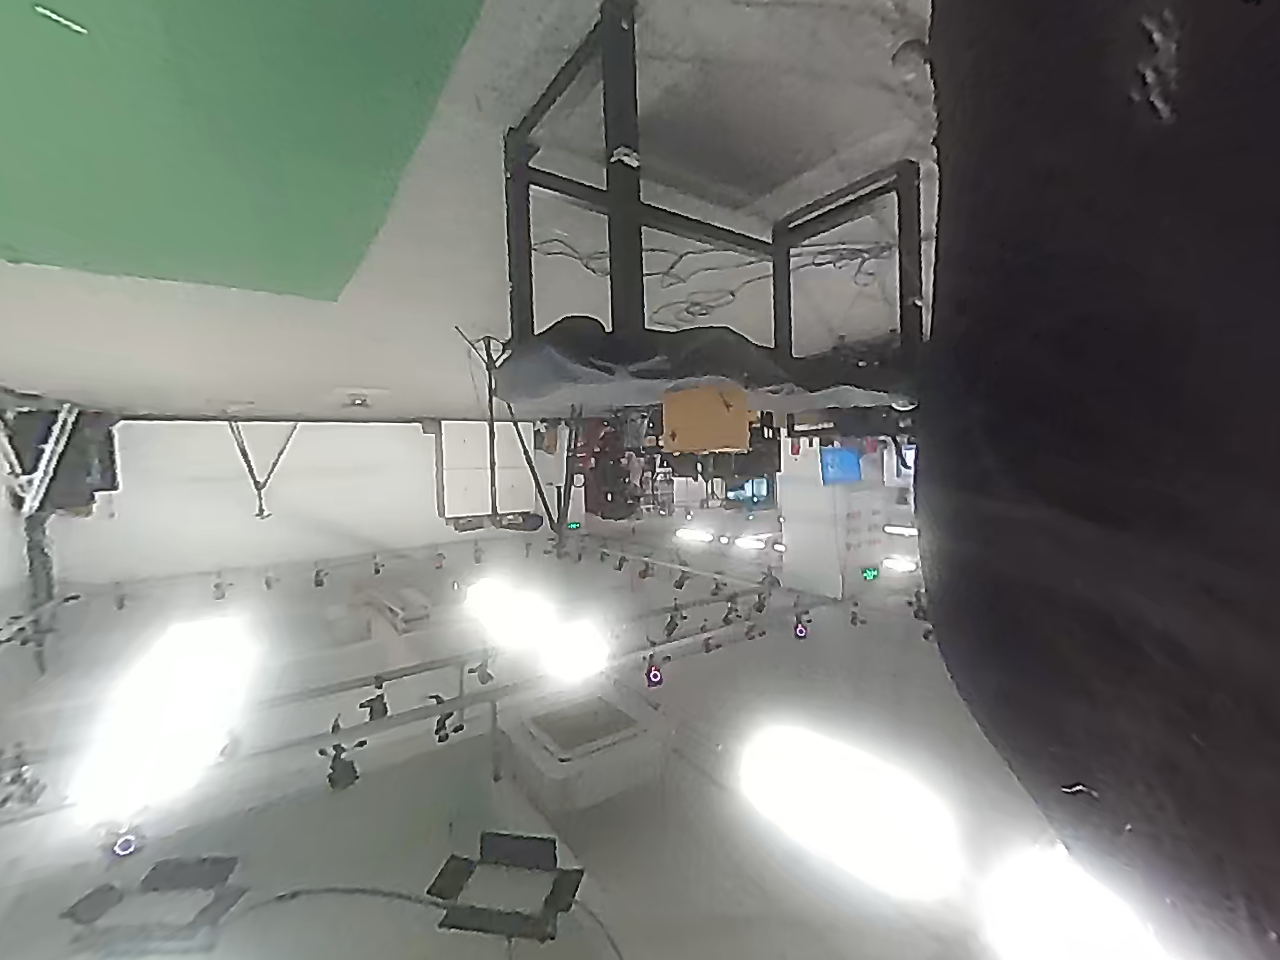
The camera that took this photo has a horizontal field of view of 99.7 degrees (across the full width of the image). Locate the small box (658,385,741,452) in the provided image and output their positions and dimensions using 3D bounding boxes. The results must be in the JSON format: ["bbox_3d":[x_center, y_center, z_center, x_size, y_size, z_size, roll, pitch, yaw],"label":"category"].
[{"bbox_3d":[0.165,-0.164,1.500,0.168,0.176,0.179,-4,-177,-38],"label":"small box"}]
